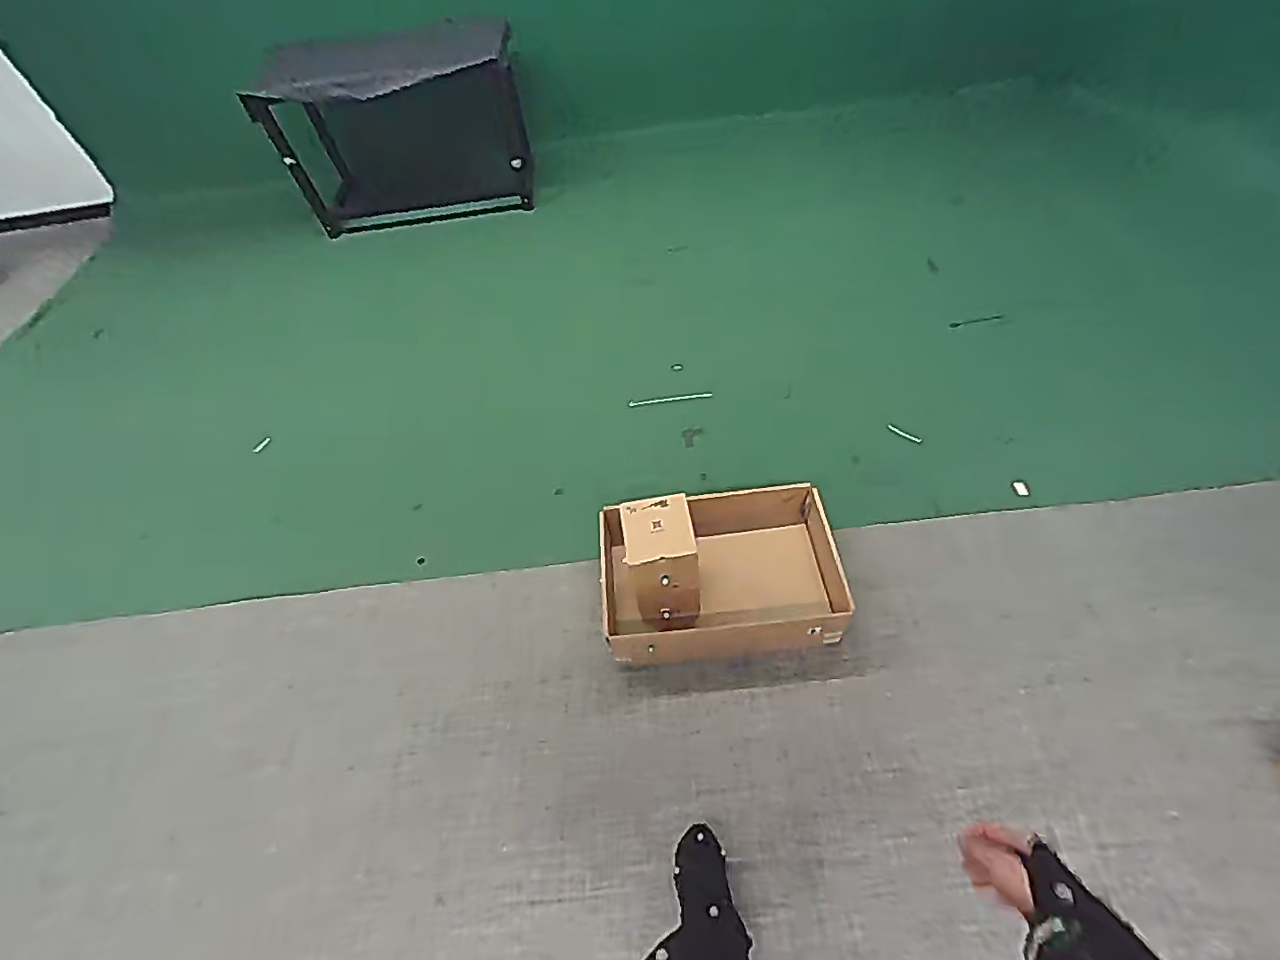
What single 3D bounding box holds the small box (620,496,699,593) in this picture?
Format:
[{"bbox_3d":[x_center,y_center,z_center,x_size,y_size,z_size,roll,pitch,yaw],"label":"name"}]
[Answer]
[{"bbox_3d":[0.050,0.166,1.326,0.168,0.176,0.179,-9,54,0],"label":"small box"}]
